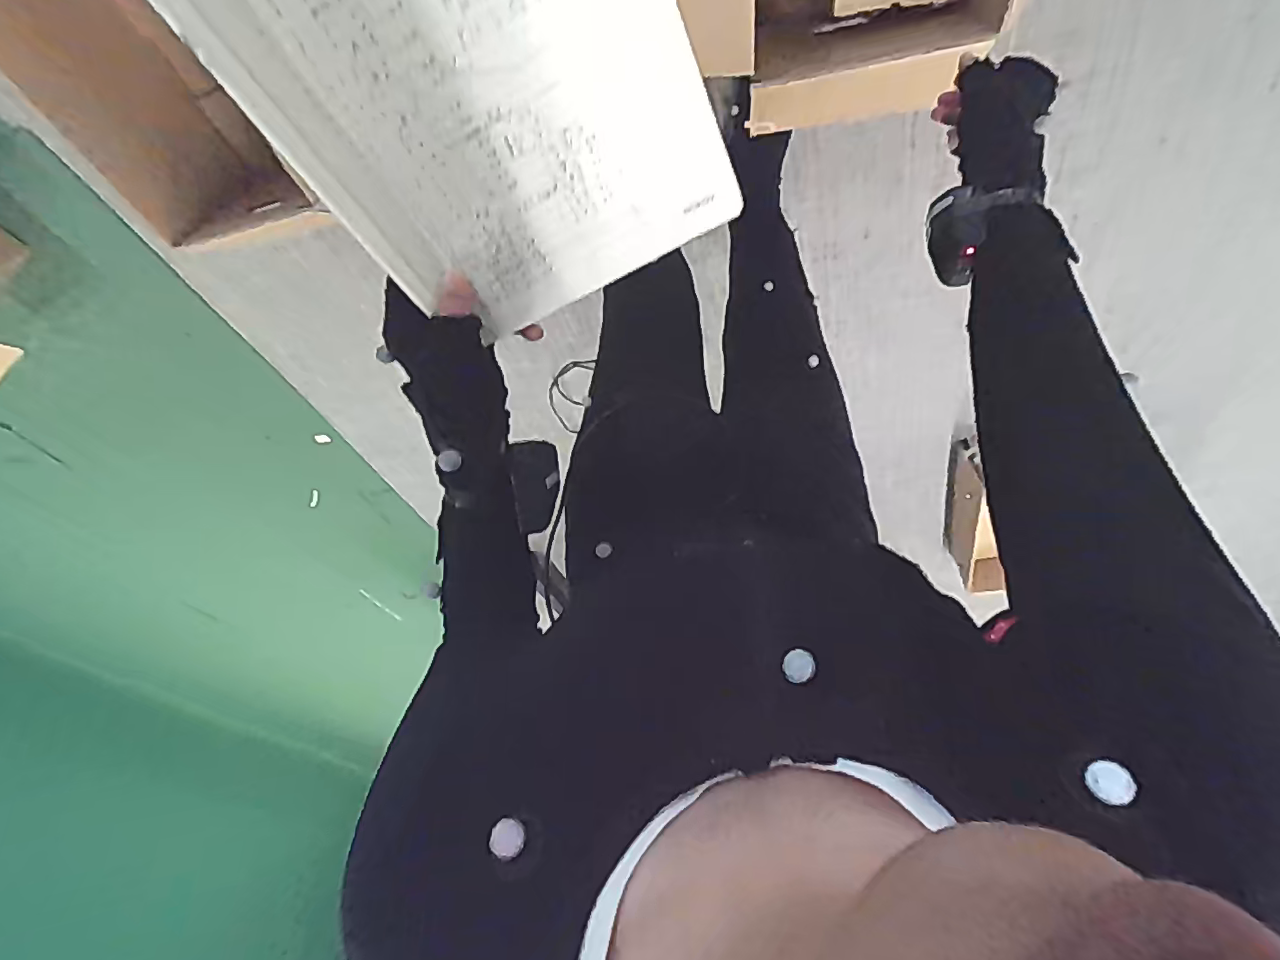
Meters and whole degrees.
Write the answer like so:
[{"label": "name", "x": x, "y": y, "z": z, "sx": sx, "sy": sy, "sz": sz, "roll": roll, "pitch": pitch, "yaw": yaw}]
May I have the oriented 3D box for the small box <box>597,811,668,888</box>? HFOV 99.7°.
[{"label": "small box", "x": -0.015, "y": 1.092, "z": 1.599, "sx": 0.168, "sy": 0.176, "sz": 0.179, "roll": -8, "pitch": 138, "yaw": 14}]
